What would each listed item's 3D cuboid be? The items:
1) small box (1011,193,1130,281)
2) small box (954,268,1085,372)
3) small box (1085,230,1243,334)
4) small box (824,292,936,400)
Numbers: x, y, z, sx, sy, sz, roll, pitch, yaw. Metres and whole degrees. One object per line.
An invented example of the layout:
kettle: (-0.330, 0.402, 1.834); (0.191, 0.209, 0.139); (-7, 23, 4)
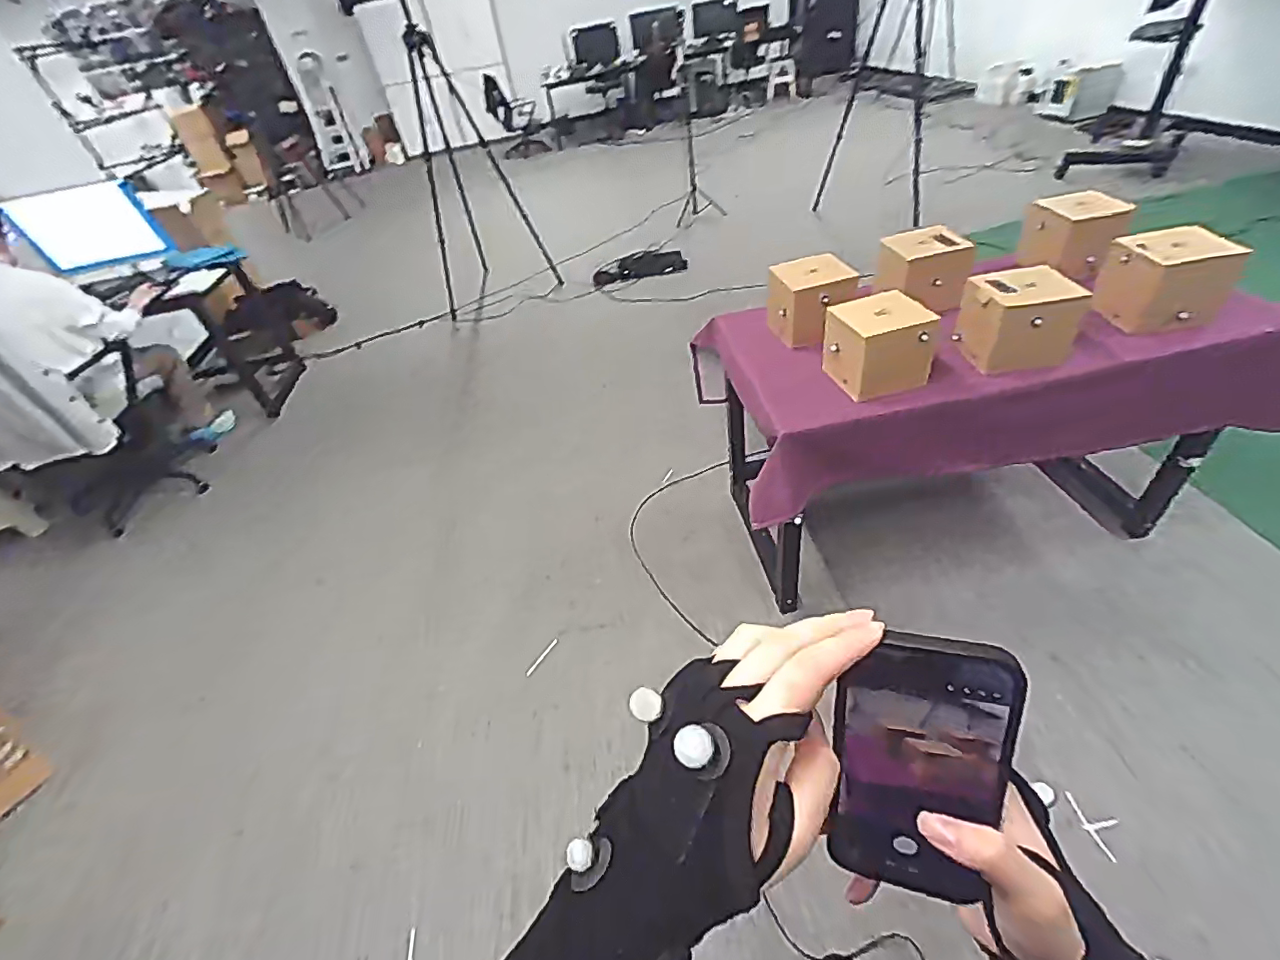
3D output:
small box: (1.175, -0.668, 1.495); (0.168, 0.176, 0.179); (-10, 43, 3)
small box: (0.847, -0.361, 1.234); (0.179, 0.176, 0.168); (-7, 42, 3)
small box: (1.204, -0.460, 1.262); (0.179, 0.176, 0.168); (-7, 42, 5)
small box: (0.539, -0.305, 1.244); (0.179, 0.176, 0.168); (-15, 42, -6)
